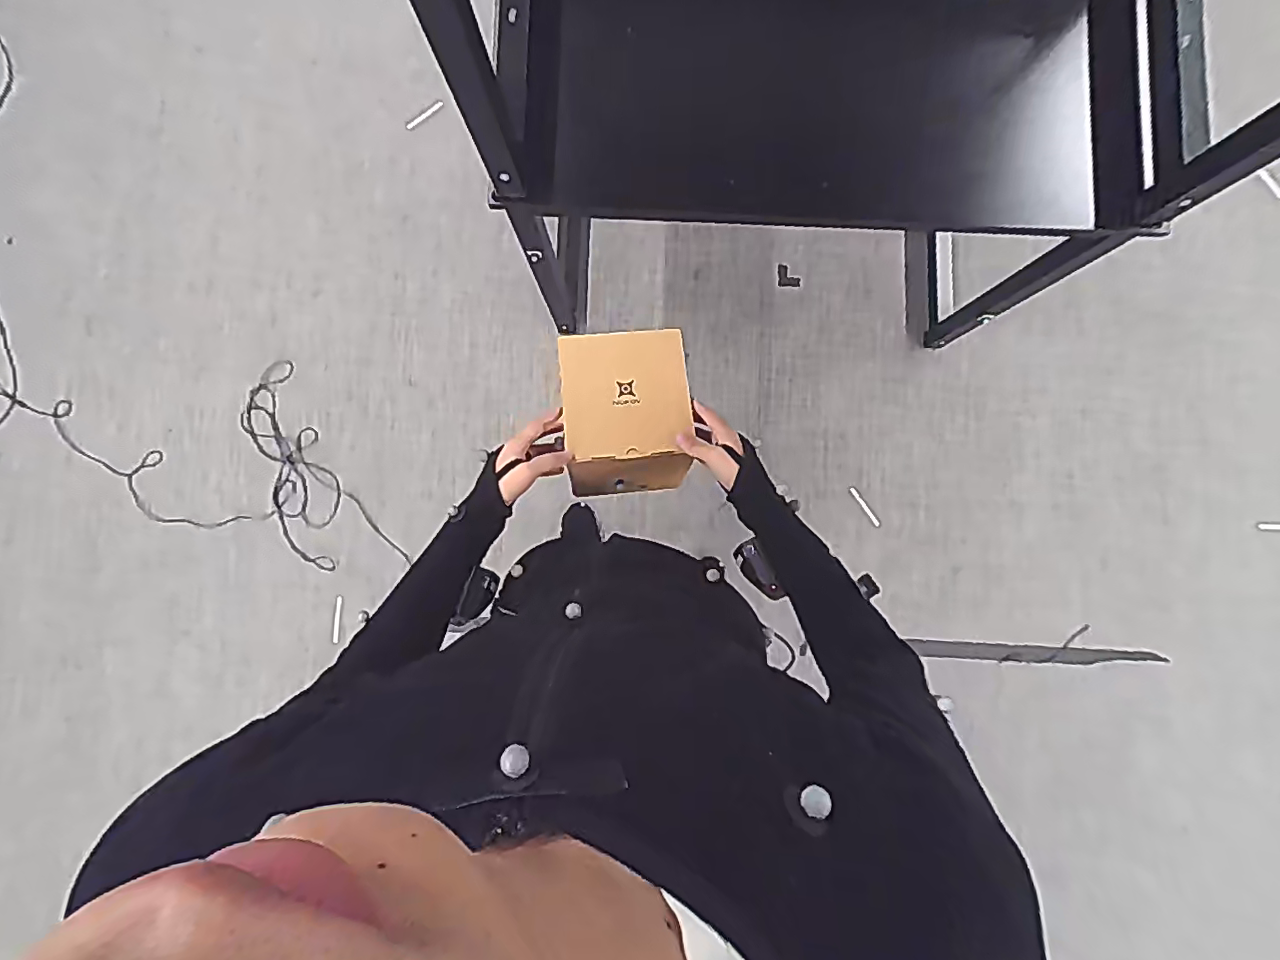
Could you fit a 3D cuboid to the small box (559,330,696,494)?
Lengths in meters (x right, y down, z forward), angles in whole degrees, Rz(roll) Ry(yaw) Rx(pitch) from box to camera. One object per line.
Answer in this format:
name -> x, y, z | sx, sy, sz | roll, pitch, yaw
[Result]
small box -> -0.025, -0.089, 0.763 | 0.168, 0.176, 0.179 | -5, 75, -5
